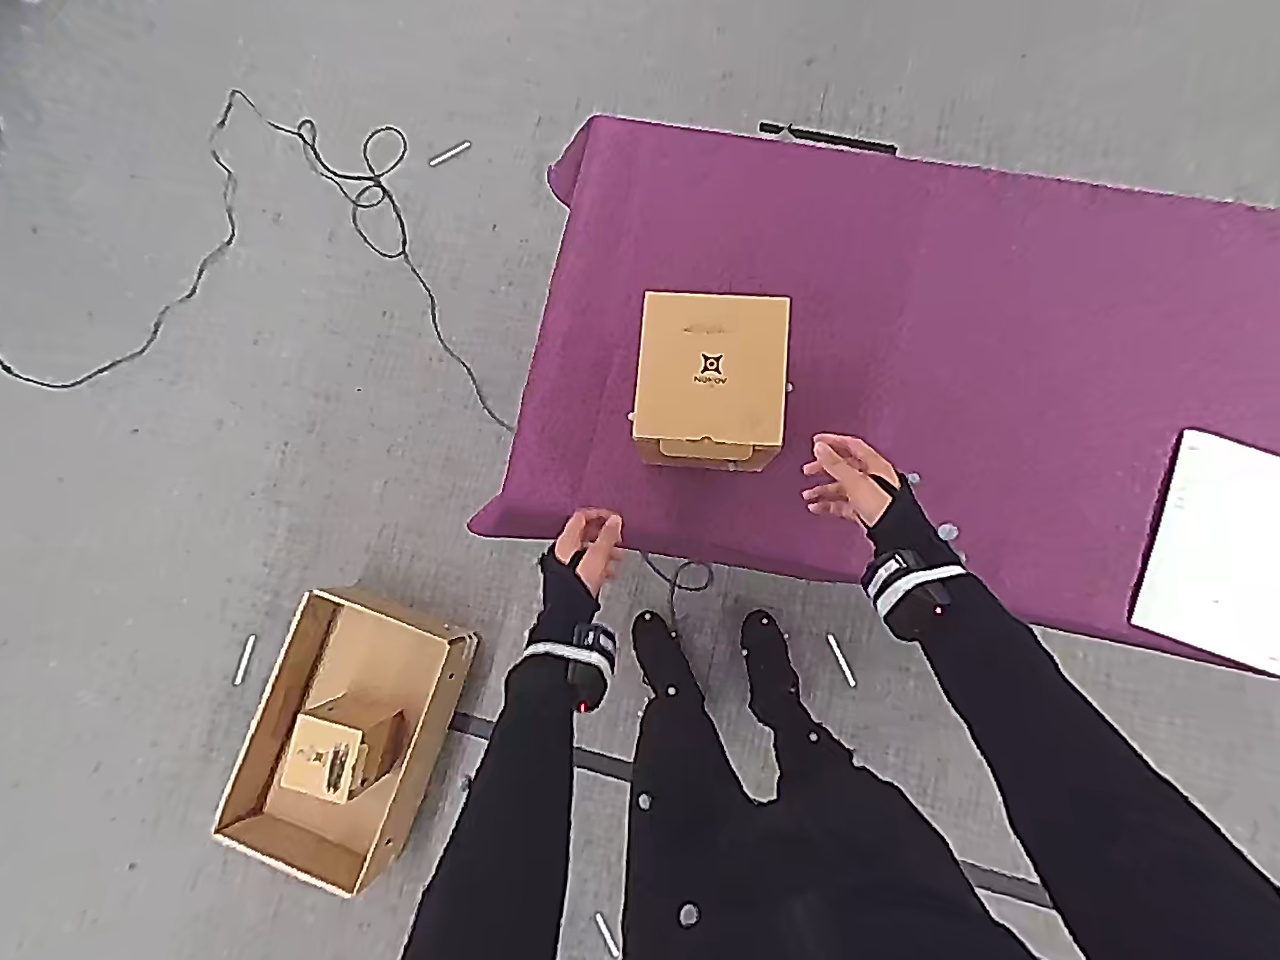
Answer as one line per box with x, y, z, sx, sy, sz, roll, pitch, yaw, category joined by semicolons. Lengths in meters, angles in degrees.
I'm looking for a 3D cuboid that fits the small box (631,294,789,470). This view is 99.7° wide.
0.085;-0.111;0.680;0.168;0.176;0.179;4;82;5;small box
